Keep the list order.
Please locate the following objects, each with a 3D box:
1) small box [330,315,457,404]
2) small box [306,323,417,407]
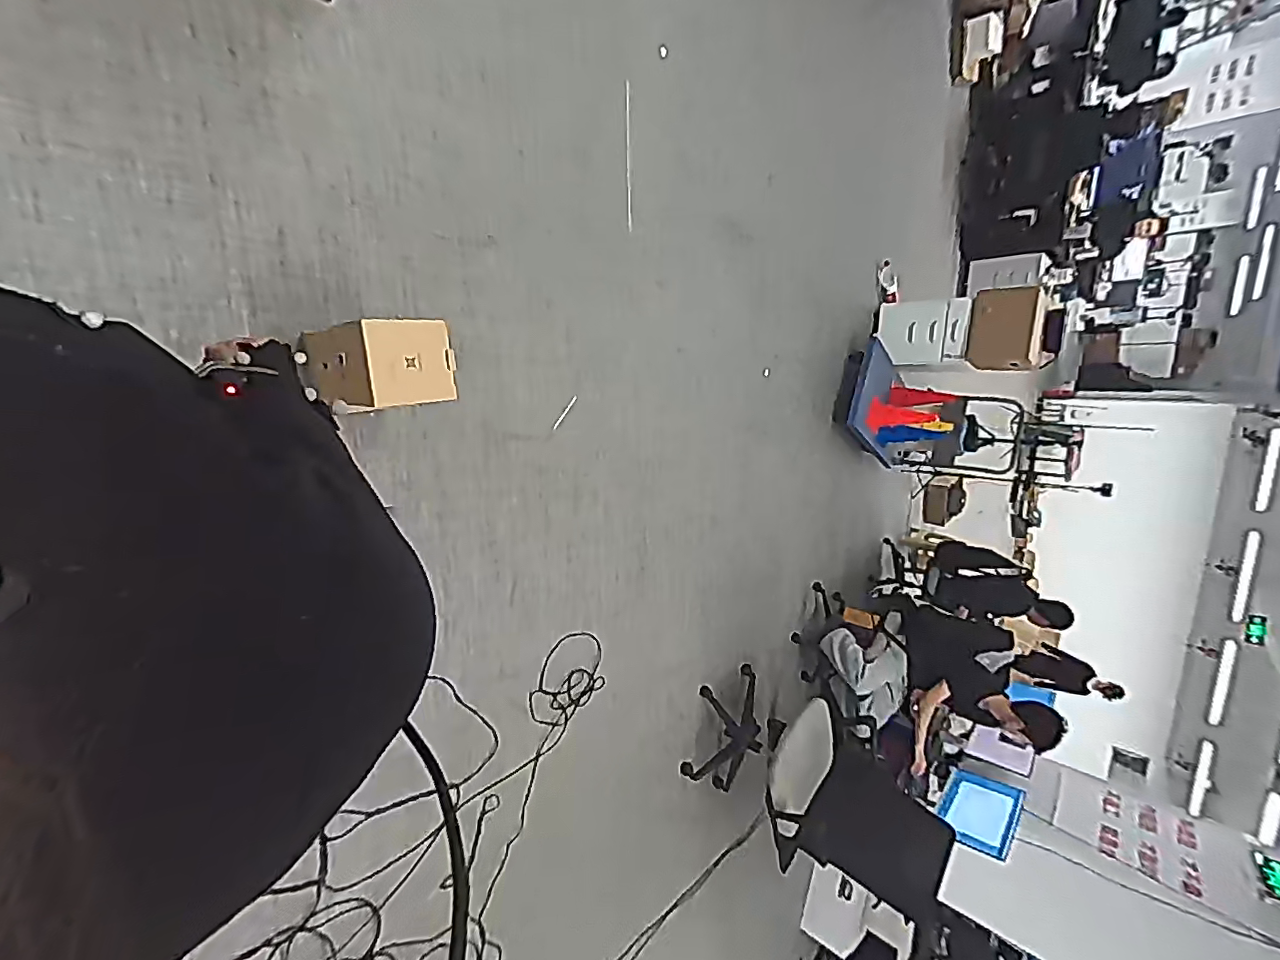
[{"bbox_3d":[-0.511,-0.253,1.126,0.179,0.176,0.168,-18,109,-45],"label":"small box"},{"bbox_3d":[-0.636,-0.261,1.233,0.168,0.176,0.179,-18,110,-45],"label":"small box"}]
